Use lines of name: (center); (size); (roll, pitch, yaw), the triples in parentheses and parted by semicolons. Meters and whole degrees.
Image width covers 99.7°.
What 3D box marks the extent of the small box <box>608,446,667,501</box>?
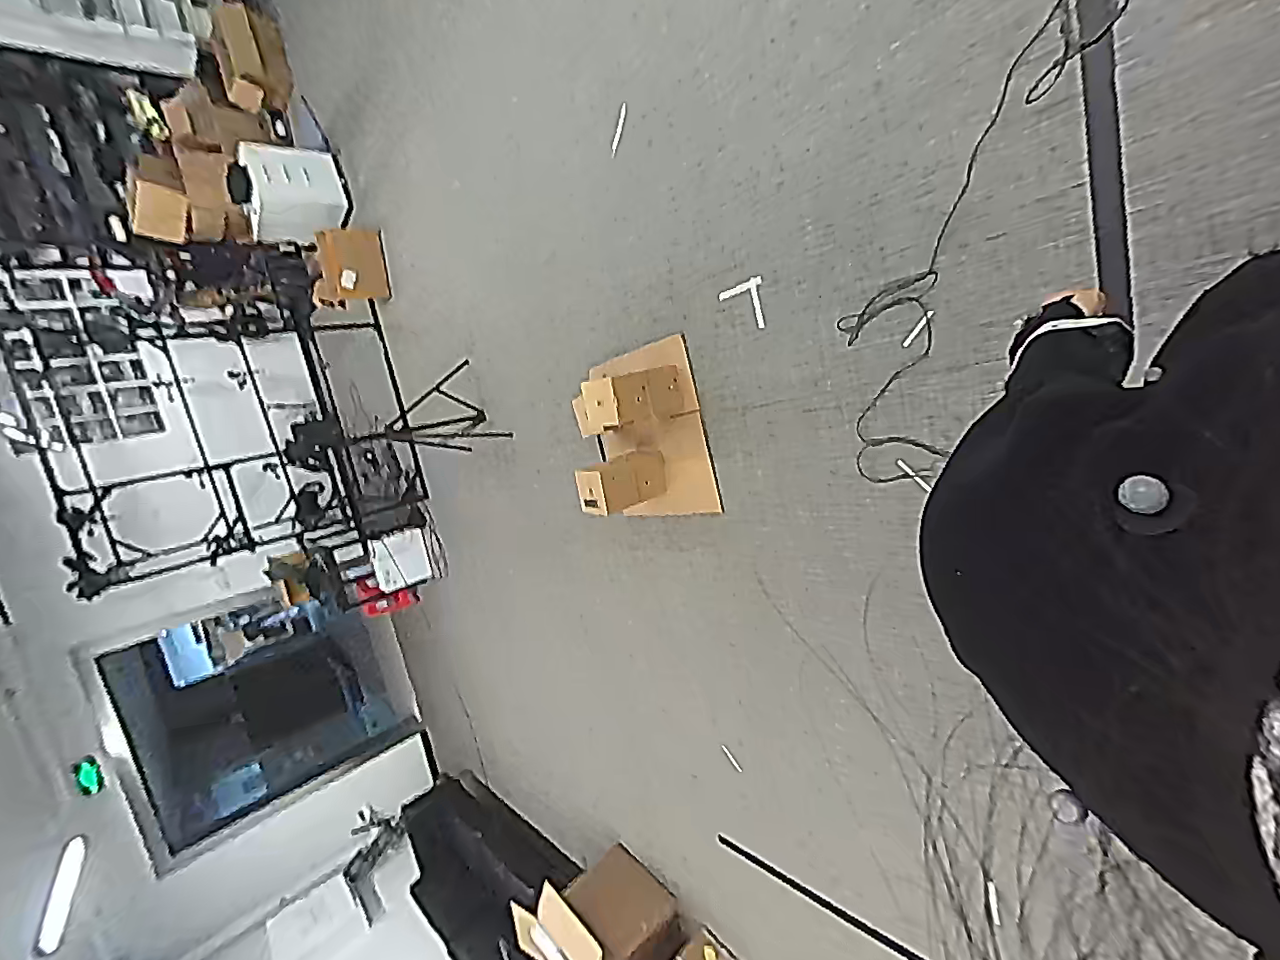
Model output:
small box: (-0.005, -0.031, 2.238); (0.168, 0.176, 0.179); (8, 113, 47)

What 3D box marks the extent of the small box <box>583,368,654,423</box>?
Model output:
small box: (-0.075, -0.305, 1.952); (0.179, 0.176, 0.168); (0, 105, 48)

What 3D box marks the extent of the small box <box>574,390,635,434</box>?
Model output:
small box: (-0.149, -0.307, 2.297); (0.168, 0.176, 0.179); (-11, 97, 51)
